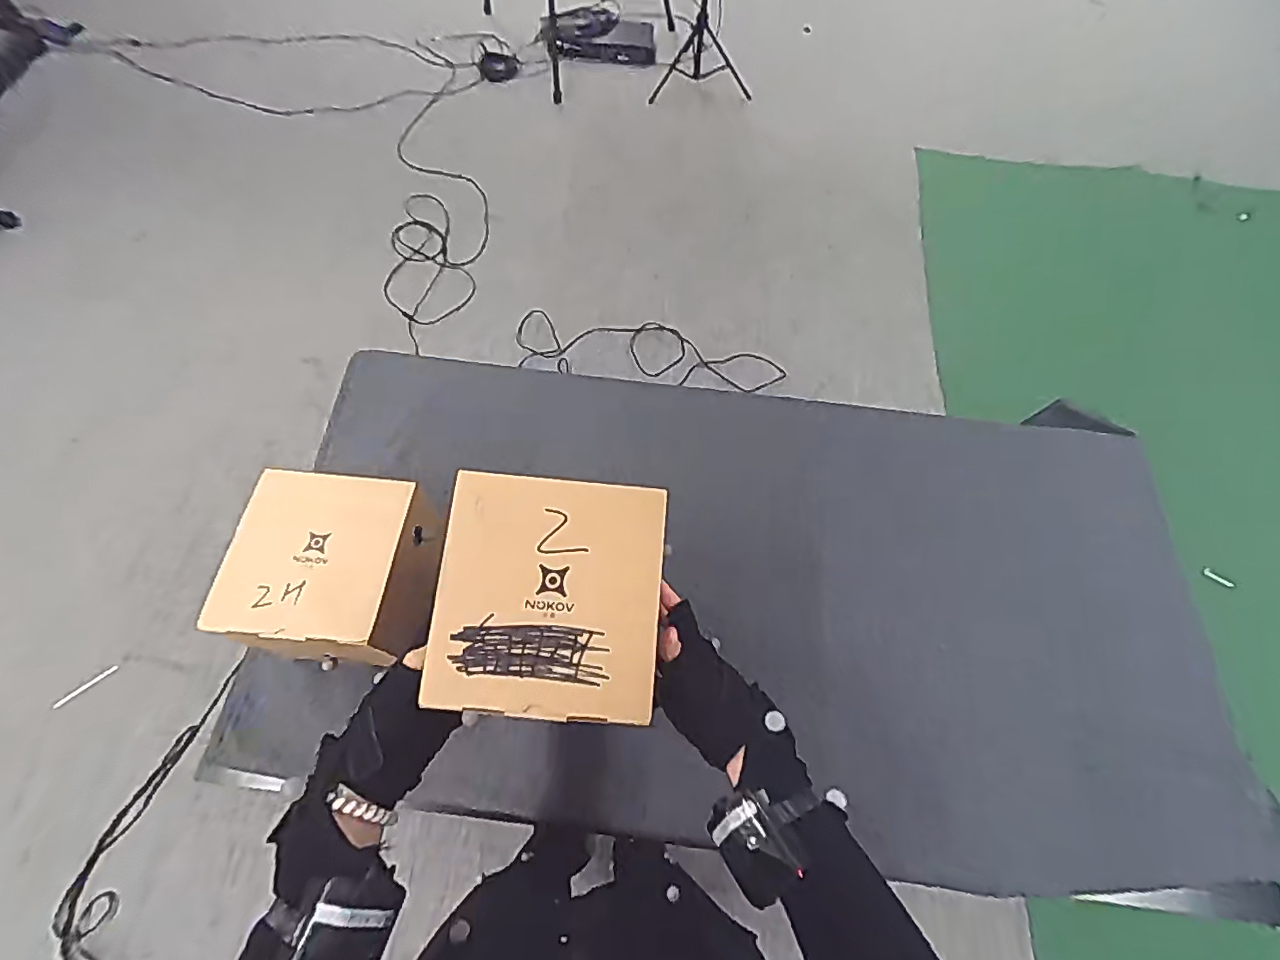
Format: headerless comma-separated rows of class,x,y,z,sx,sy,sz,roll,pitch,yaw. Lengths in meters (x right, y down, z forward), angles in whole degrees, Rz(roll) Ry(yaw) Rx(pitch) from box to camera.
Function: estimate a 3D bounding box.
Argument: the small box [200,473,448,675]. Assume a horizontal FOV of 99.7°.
small box,-0.332,0.114,0.617,0.168,0.176,0.179,6,63,-1
